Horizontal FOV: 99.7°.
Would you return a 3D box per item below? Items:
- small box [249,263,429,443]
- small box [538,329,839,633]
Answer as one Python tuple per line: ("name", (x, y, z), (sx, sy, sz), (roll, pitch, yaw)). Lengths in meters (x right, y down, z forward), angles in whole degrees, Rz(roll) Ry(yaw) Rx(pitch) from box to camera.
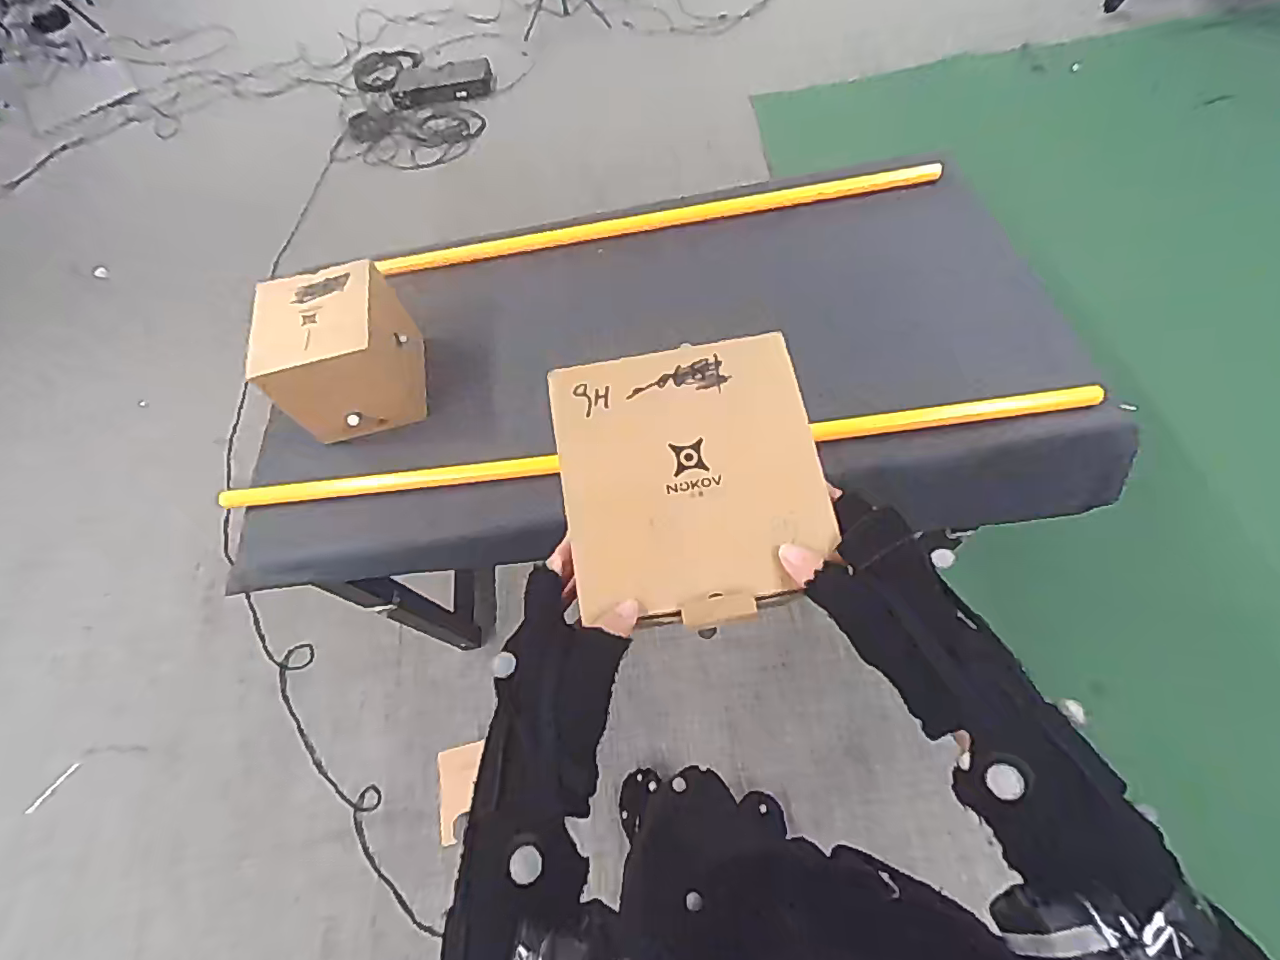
("small box", (-0.430, -0.182, 0.802), (0.168, 0.176, 0.179), (-14, 62, 0))
("small box", (0.031, 0.015, 0.428), (0.168, 0.176, 0.179), (-14, 73, -1))
